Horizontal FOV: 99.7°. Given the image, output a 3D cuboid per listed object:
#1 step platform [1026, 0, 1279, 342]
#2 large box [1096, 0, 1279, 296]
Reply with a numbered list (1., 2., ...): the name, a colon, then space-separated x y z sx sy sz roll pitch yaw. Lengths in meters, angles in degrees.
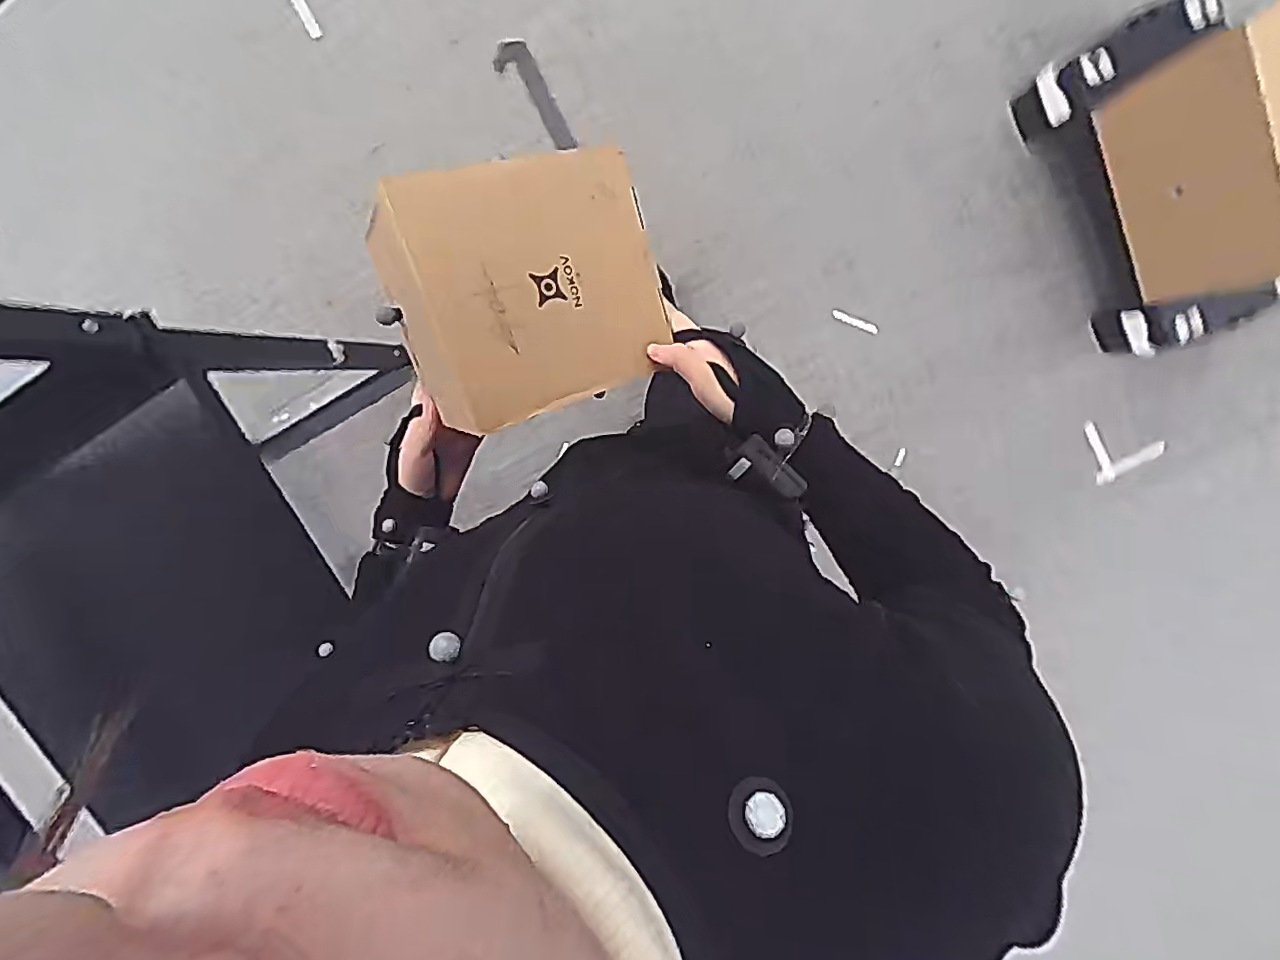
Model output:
1. step platform: 1.110 -0.657 1.162 0.286 0.204 0.684 -22 98 8
2. large box: 1.107 -0.590 0.931 0.320 0.320 0.408 -24 97 8
